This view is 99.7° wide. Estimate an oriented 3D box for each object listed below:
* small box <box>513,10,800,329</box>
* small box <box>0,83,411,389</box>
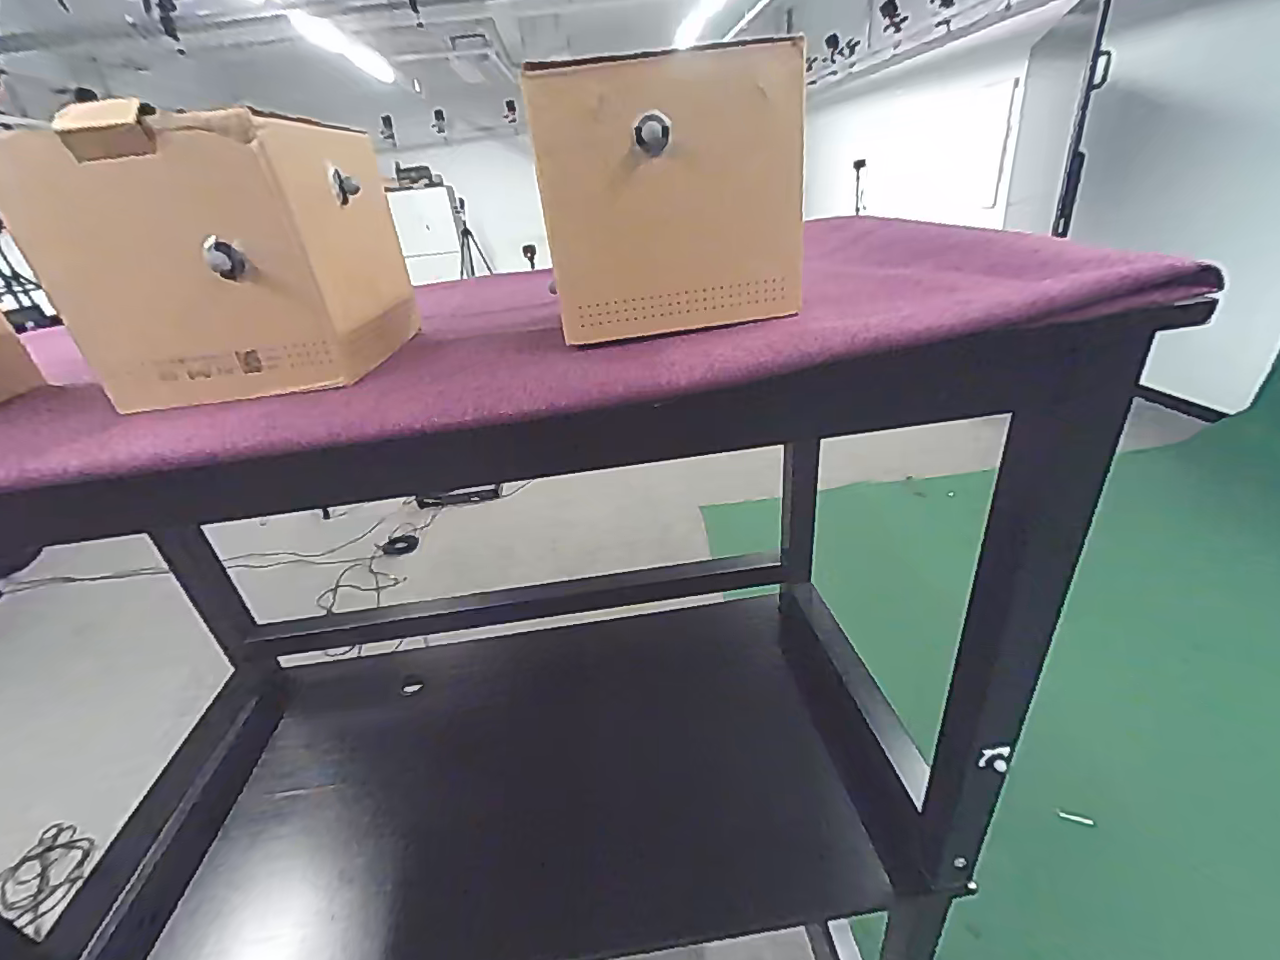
[{"bbox_3d":[0.014,-0.221,0.421,0.179,0.176,0.168,-8,26,-2],"label":"small box"},{"bbox_3d":[-0.293,-0.170,0.403,0.168,0.176,0.179,-6,28,-1],"label":"small box"}]
